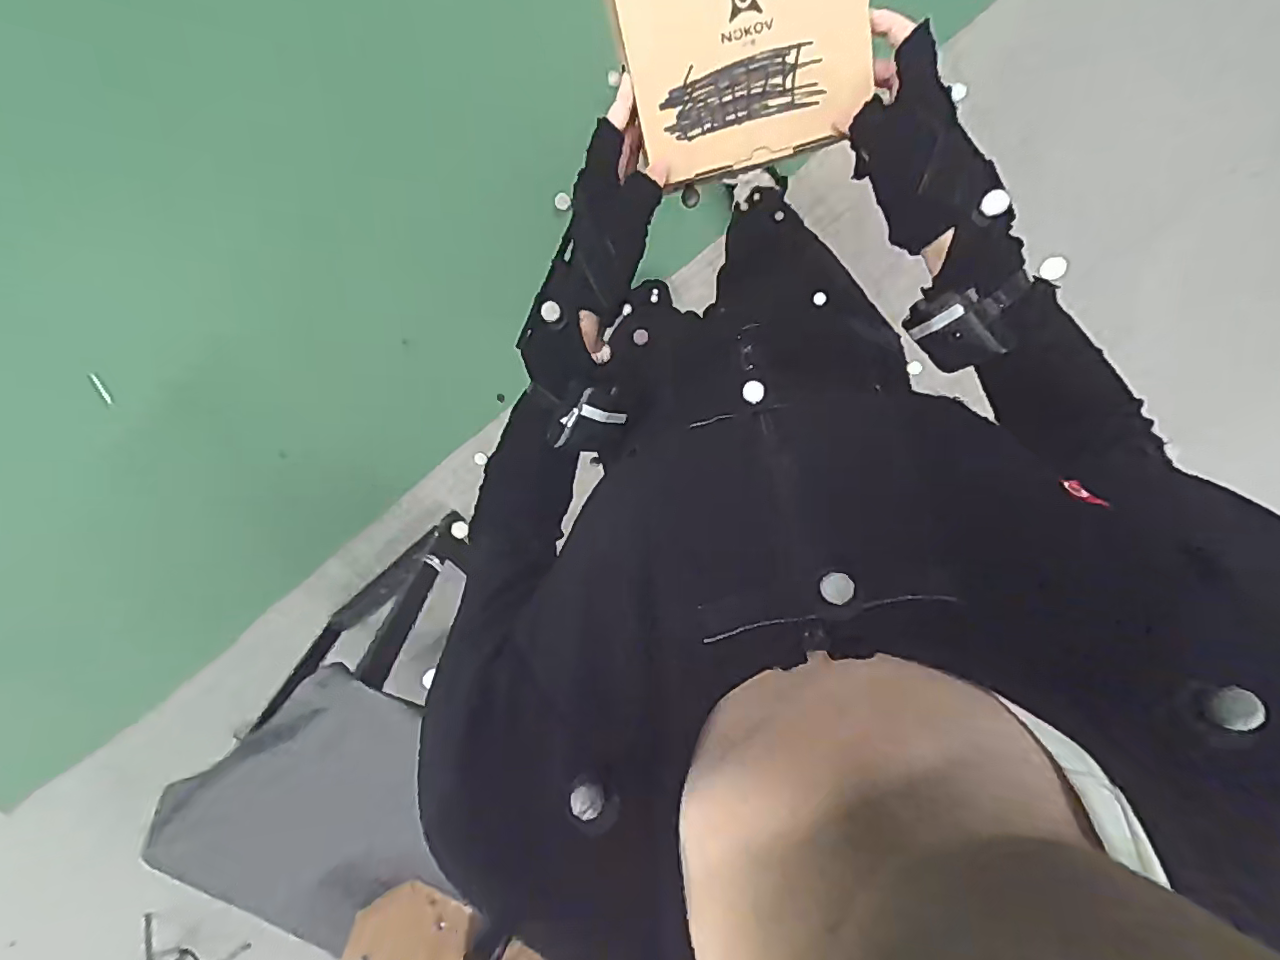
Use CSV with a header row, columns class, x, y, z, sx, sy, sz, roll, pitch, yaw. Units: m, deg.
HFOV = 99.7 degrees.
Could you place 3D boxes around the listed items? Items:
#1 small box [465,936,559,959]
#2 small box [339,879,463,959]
class,x,y,z,sx,sy,sz,roll,pitch,yaw
small box,-0.294,1.156,1.193,0.168,0.176,0.179,-36,112,12
small box,-0.489,0.964,1.097,0.179,0.176,0.168,-38,111,12
